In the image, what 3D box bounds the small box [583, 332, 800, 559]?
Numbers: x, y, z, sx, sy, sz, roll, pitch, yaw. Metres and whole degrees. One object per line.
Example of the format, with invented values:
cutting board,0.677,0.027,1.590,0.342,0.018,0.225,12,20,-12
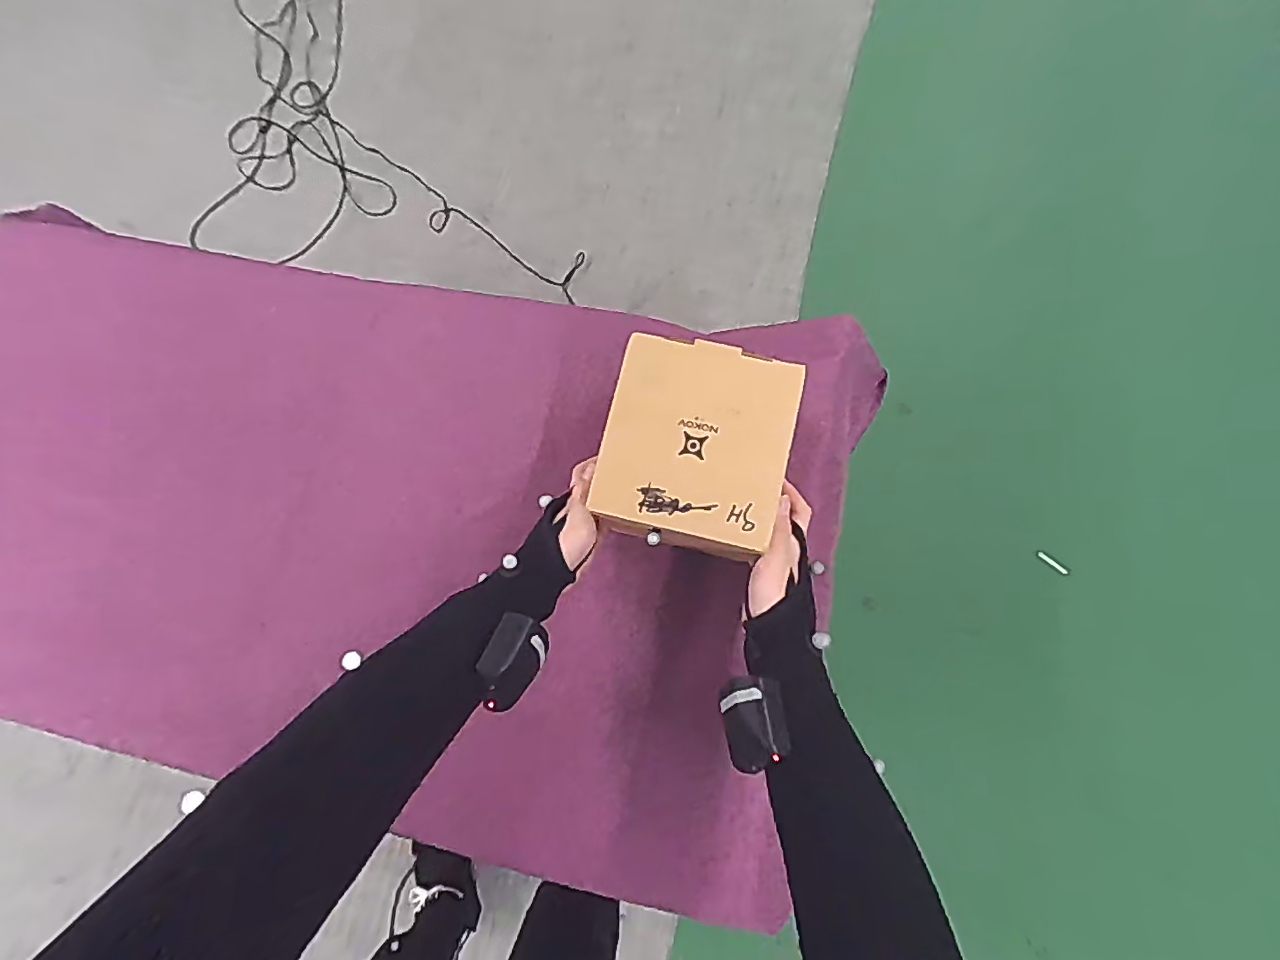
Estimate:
small box,0.053,-0.024,0.560,0.168,0.176,0.179,13,80,8
